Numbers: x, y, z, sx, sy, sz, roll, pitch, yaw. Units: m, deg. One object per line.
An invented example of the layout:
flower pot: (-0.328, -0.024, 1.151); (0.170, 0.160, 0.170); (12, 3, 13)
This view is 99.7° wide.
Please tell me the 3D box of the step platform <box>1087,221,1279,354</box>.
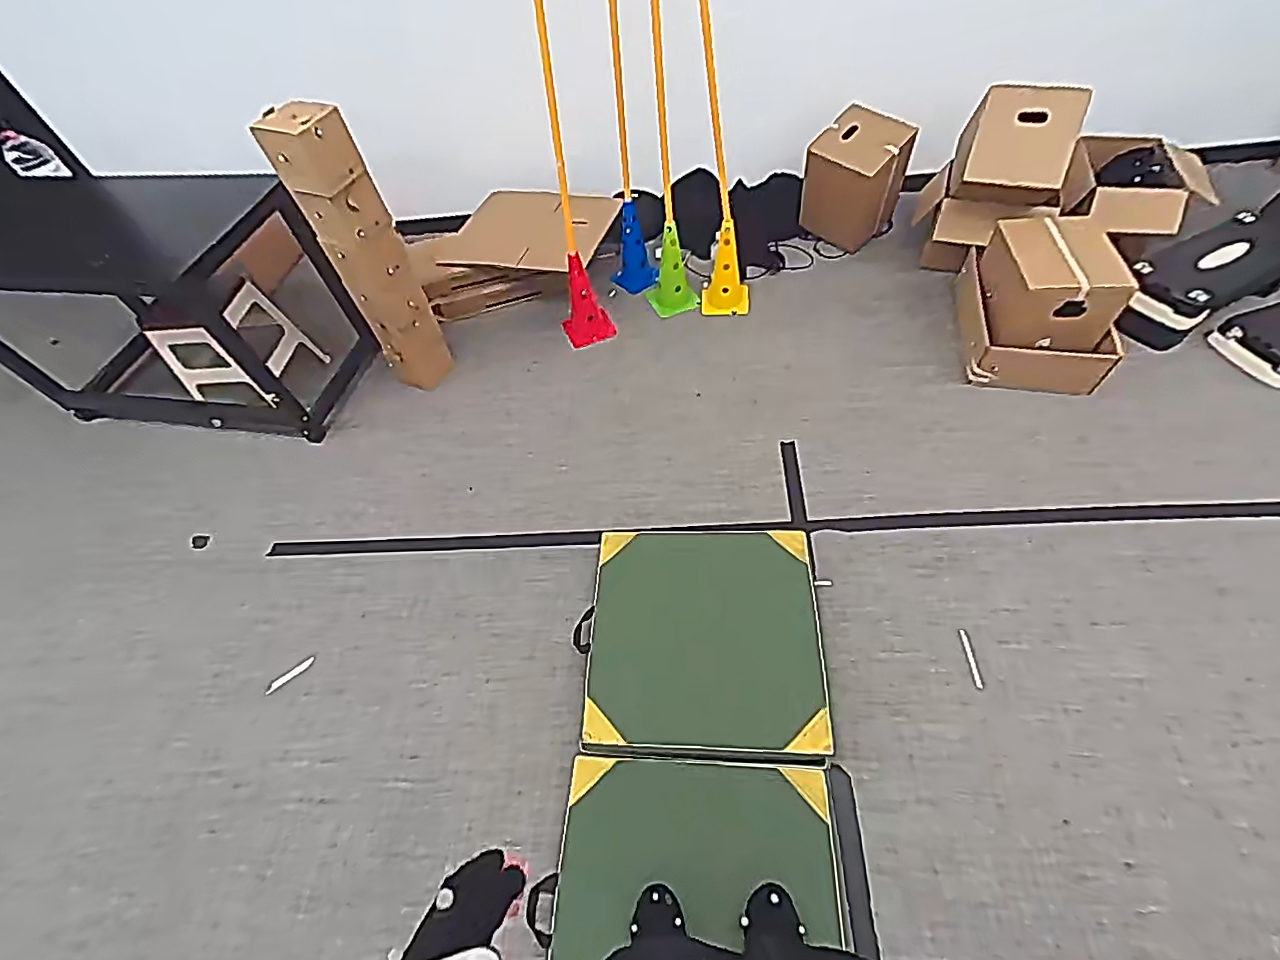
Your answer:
step platform: (2.074, -0.729, 2.024); (0.684, 0.204, 0.286); (-26, 56, -11)
